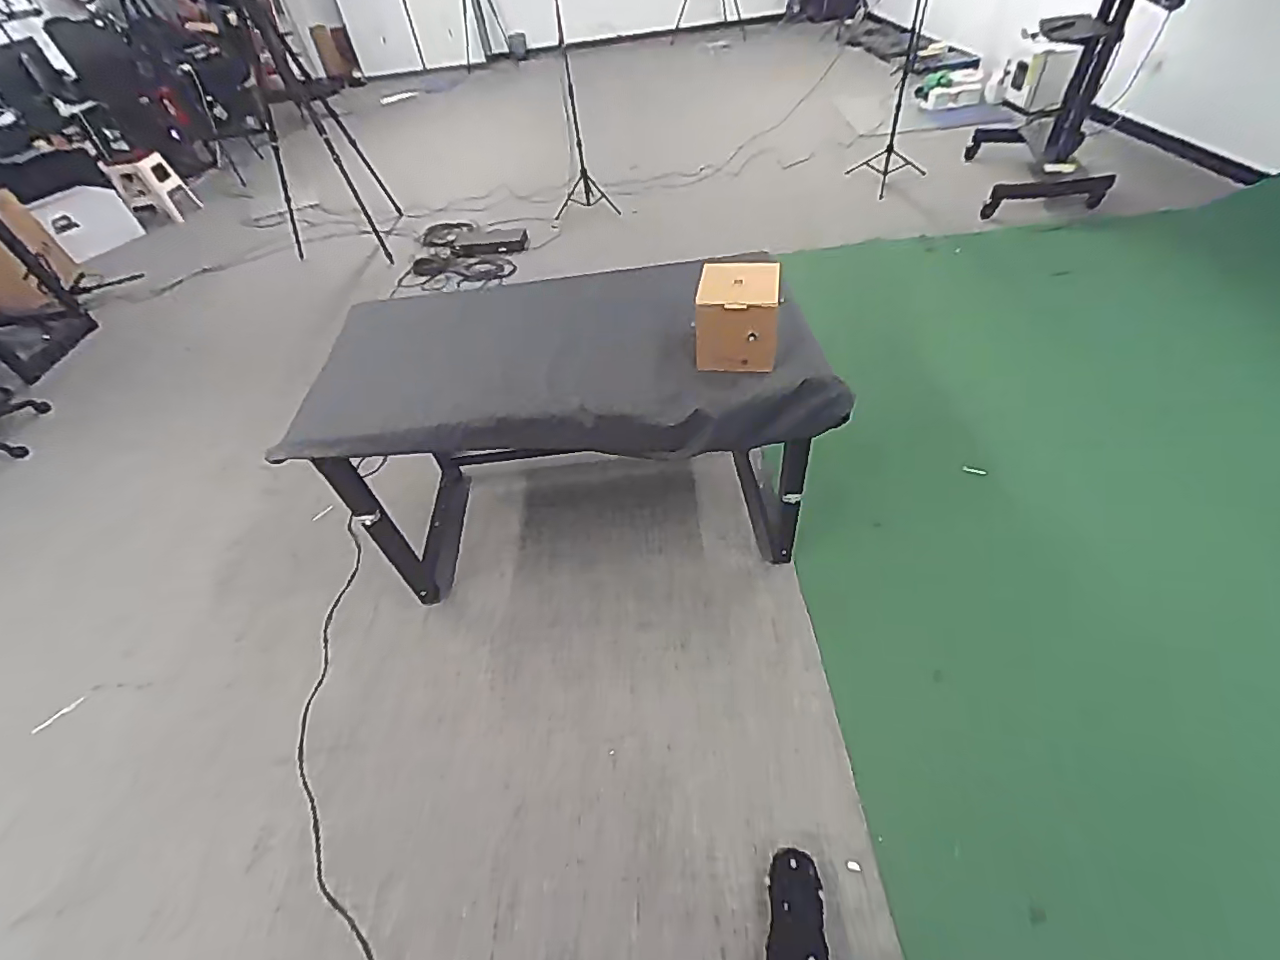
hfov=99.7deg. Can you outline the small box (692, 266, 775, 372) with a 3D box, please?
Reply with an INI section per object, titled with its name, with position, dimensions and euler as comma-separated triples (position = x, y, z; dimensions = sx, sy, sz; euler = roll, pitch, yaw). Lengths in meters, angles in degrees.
[small box]
position = 0.209, -0.353, 1.194
dimensions = 0.168, 0.176, 0.179
euler = 4, 46, 11
